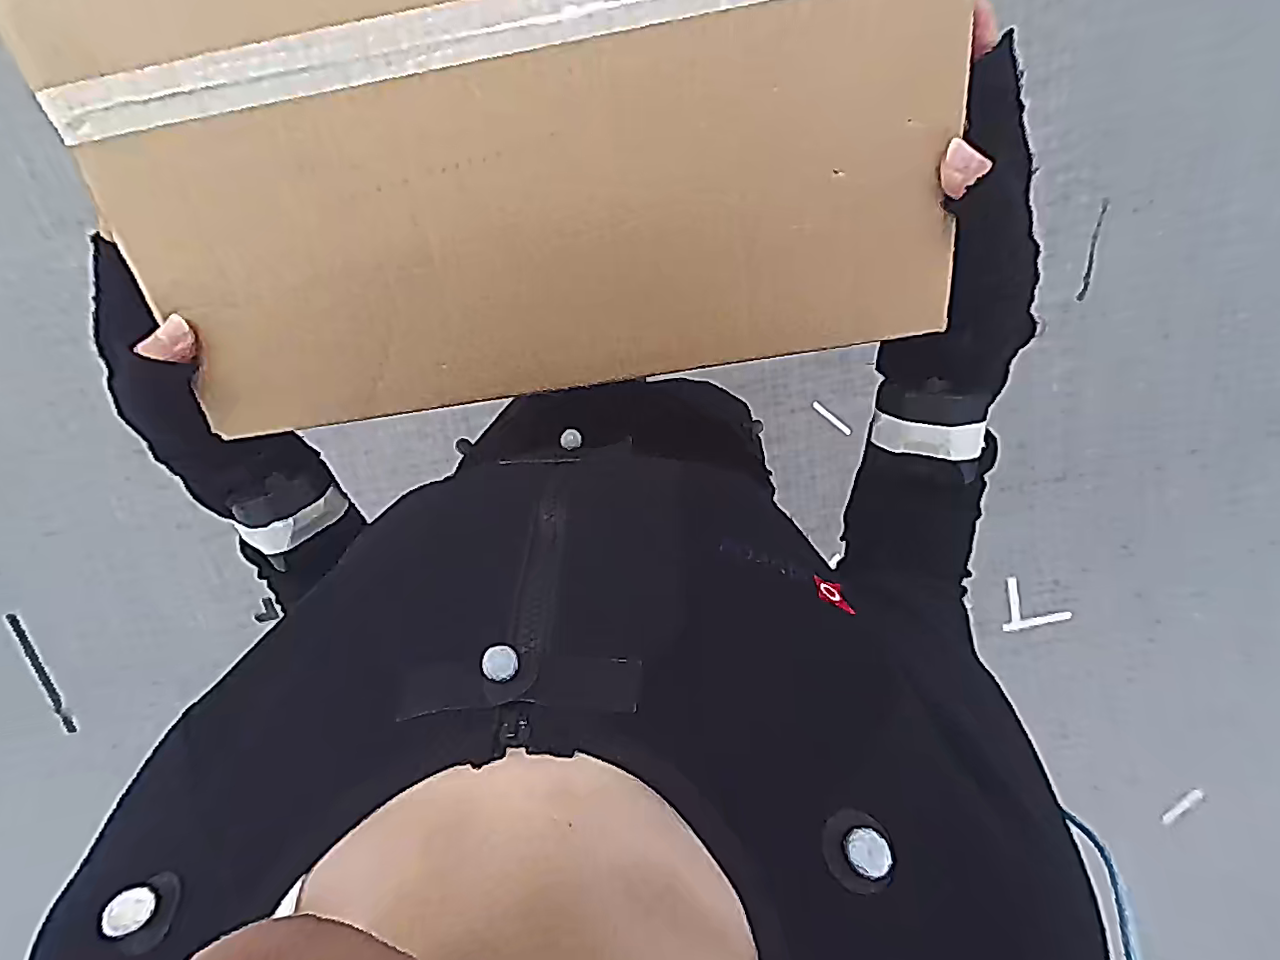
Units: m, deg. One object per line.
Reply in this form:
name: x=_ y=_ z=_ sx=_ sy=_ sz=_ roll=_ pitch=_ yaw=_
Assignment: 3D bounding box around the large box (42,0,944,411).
large box: x=-0.066 y=-0.266 z=0.378 sx=0.408 sy=0.320 sz=0.320 roll=-8 pitch=115 yaw=4
